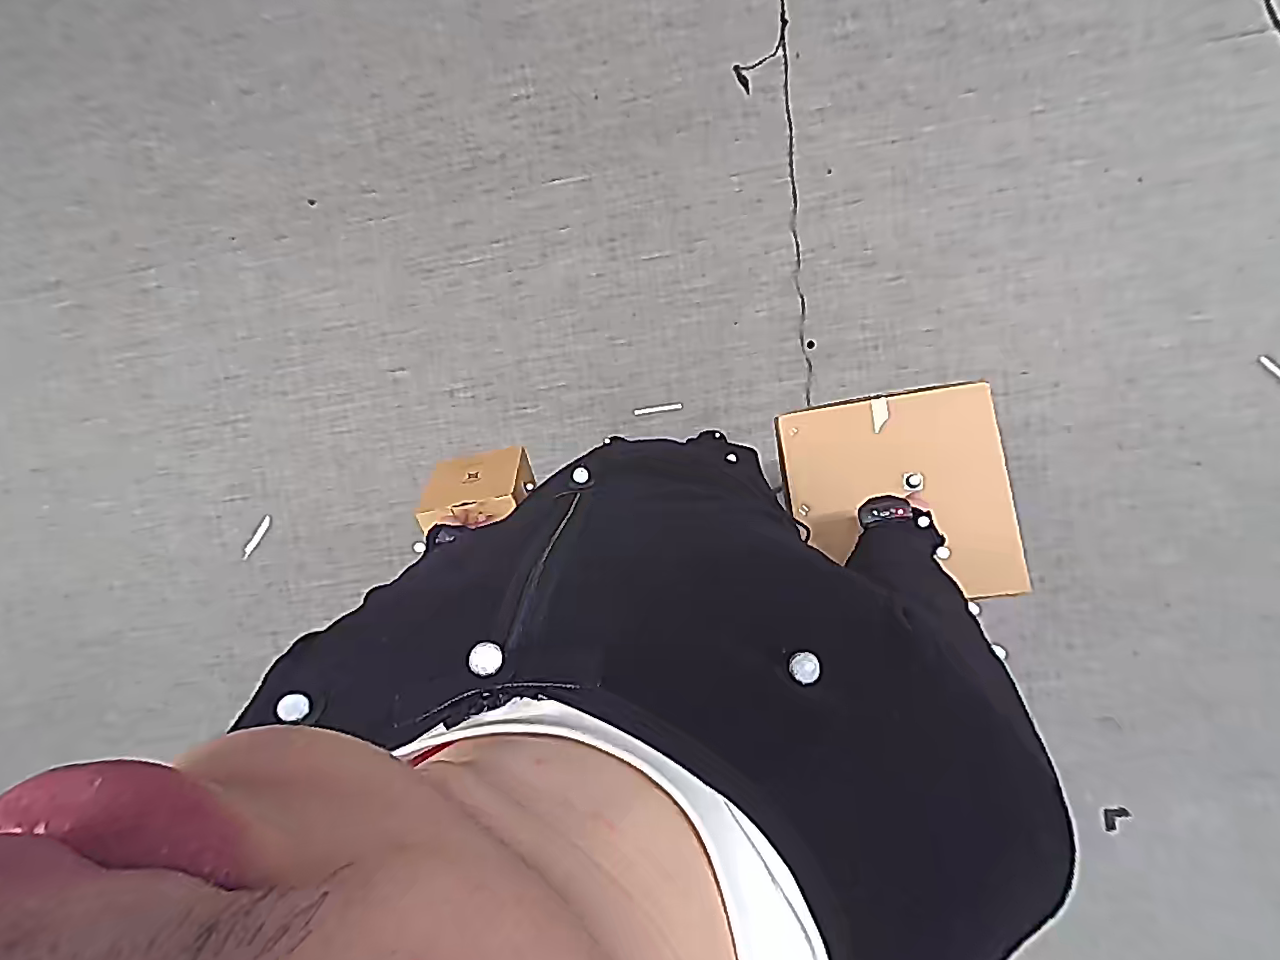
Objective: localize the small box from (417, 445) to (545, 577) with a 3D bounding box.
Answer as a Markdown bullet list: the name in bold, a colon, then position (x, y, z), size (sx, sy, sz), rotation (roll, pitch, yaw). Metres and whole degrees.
- **small box**: position (-0.280, 0.063, 0.999), size (0.168, 0.179, 0.176), rotation (-11, 122, 1)
